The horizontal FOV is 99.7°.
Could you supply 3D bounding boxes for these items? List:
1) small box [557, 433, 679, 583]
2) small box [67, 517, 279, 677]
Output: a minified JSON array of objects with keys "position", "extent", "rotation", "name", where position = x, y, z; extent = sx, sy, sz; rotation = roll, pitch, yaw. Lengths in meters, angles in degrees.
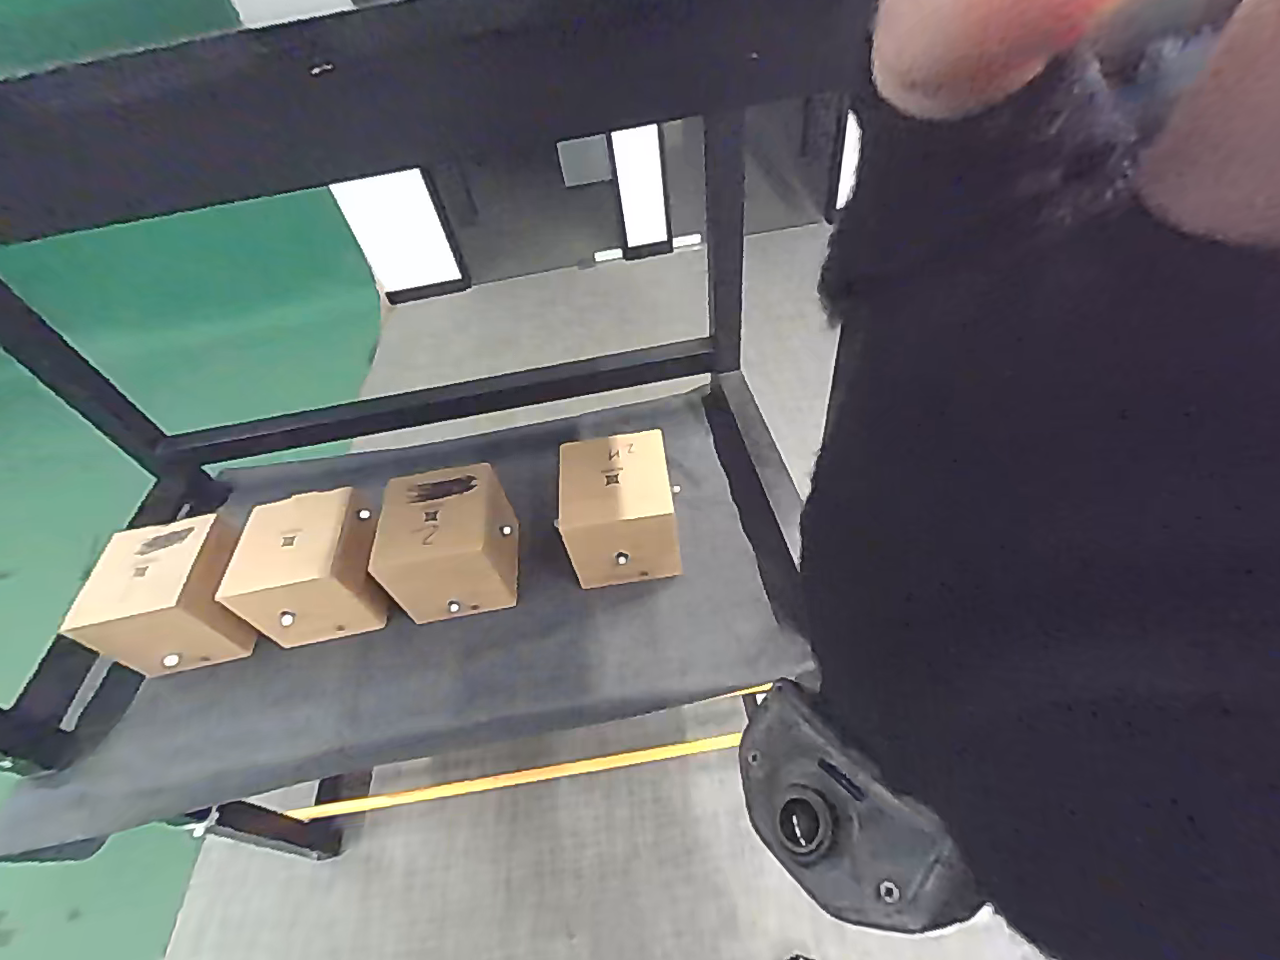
[{"position":[-0.032,0.052,0.870],"extent":[0.168,0.176,0.179],"rotation":[-8,47,2],"name":"small box"},{"position":[-0.728,0.190,0.874],"extent":[0.168,0.176,0.179],"rotation":[-12,48,-1],"name":"small box"}]
